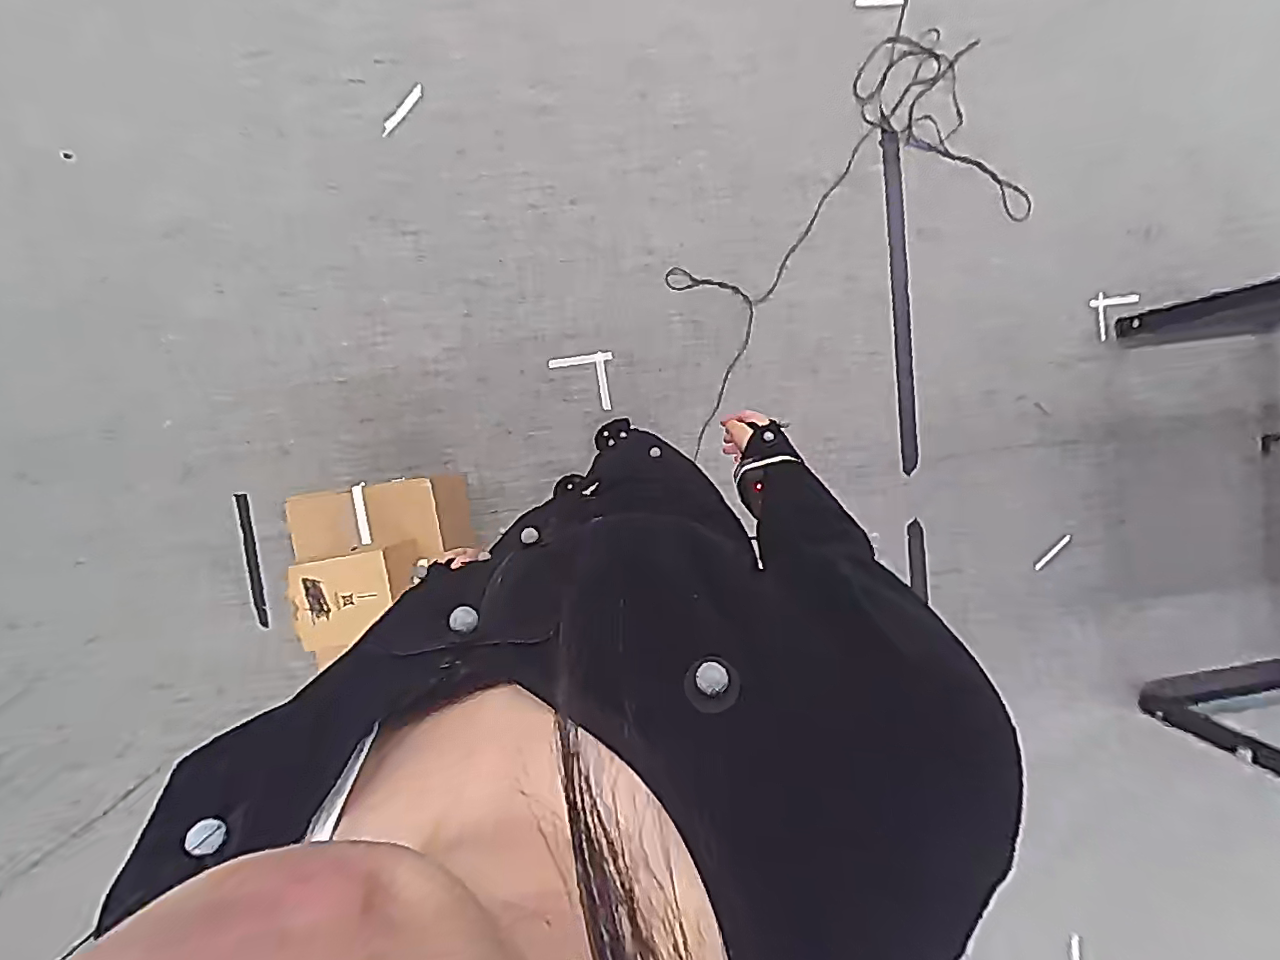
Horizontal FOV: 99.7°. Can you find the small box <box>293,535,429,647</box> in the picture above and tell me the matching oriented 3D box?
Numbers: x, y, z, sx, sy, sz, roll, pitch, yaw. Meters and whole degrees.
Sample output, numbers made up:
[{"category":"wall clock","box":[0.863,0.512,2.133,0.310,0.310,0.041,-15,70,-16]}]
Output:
[{"category":"small box","box":[-0.549,0.214,1.084,0.179,0.176,0.168,-10,94,-4]}]
